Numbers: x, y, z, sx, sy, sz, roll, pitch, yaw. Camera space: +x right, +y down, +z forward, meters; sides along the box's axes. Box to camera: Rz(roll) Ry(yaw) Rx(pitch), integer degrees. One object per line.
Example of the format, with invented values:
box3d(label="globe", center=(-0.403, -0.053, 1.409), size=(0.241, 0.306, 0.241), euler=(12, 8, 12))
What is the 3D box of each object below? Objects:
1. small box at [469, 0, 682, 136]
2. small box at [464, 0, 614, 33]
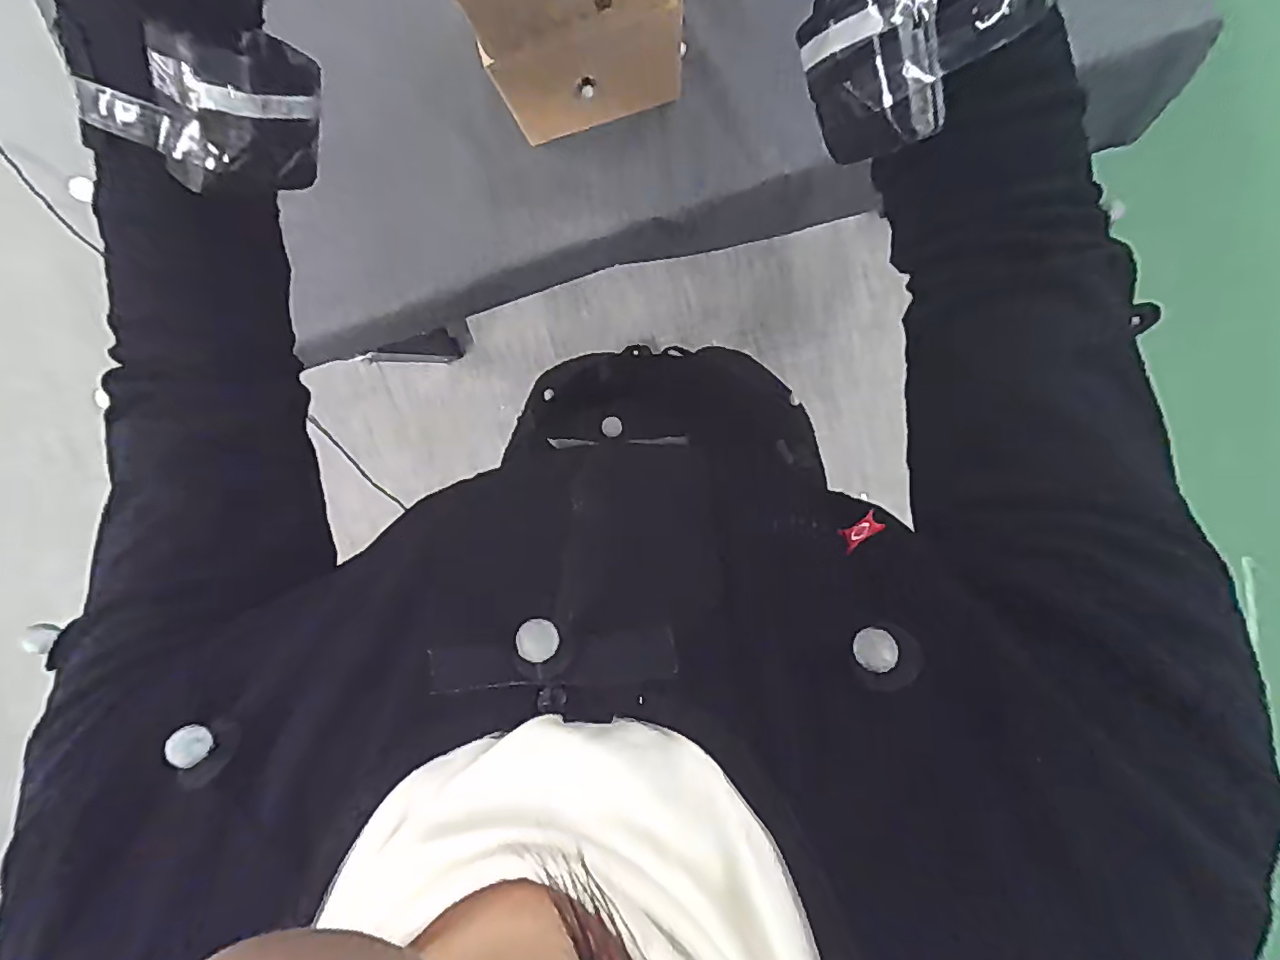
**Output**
box3d(label="small box", center=(-0.065, -0.465, 0.511), size=(0.179, 0.176, 0.168), euler=(-14, 100, 7))
box3d(label="small box", center=(-0.076, -0.441, 0.350), size=(0.168, 0.176, 0.179), euler=(-15, 101, 6))
